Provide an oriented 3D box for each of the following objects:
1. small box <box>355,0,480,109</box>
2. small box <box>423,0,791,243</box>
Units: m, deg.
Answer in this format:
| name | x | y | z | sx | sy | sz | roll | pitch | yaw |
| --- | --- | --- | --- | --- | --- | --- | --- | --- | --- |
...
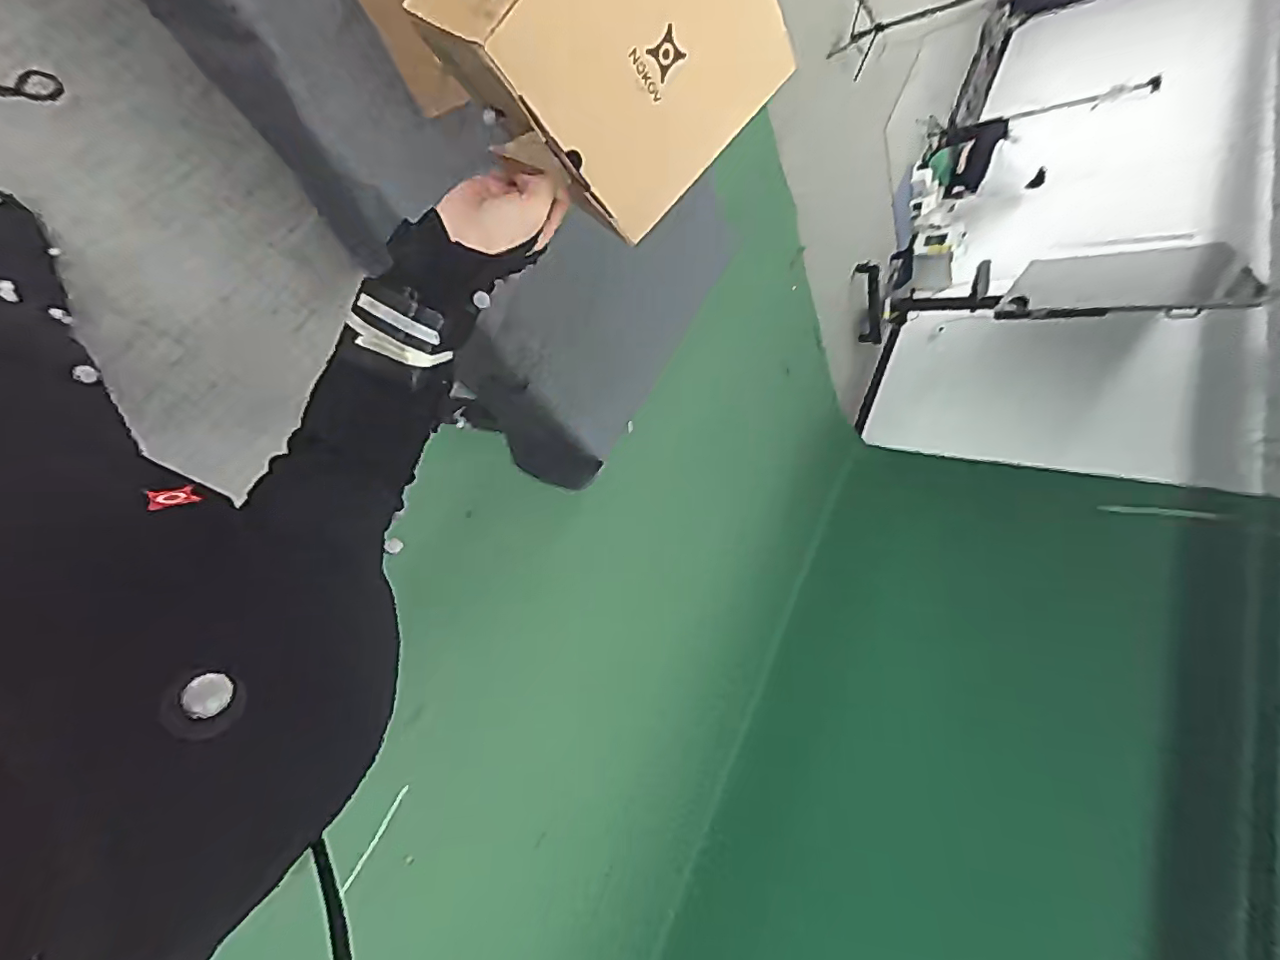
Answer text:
| name | x | y | z | sx | sy | sz | roll | pitch | yaw |
| --- | --- | --- | --- | --- | --- | --- | --- | --- | --- |
| small box | -0.188 | -0.532 | 0.580 | 0.168 | 0.176 | 0.179 | -57 | 138 | -28 |
| small box | -0.027 | -0.323 | 0.395 | 0.179 | 0.176 | 0.168 | -44 | 145 | 9 |
